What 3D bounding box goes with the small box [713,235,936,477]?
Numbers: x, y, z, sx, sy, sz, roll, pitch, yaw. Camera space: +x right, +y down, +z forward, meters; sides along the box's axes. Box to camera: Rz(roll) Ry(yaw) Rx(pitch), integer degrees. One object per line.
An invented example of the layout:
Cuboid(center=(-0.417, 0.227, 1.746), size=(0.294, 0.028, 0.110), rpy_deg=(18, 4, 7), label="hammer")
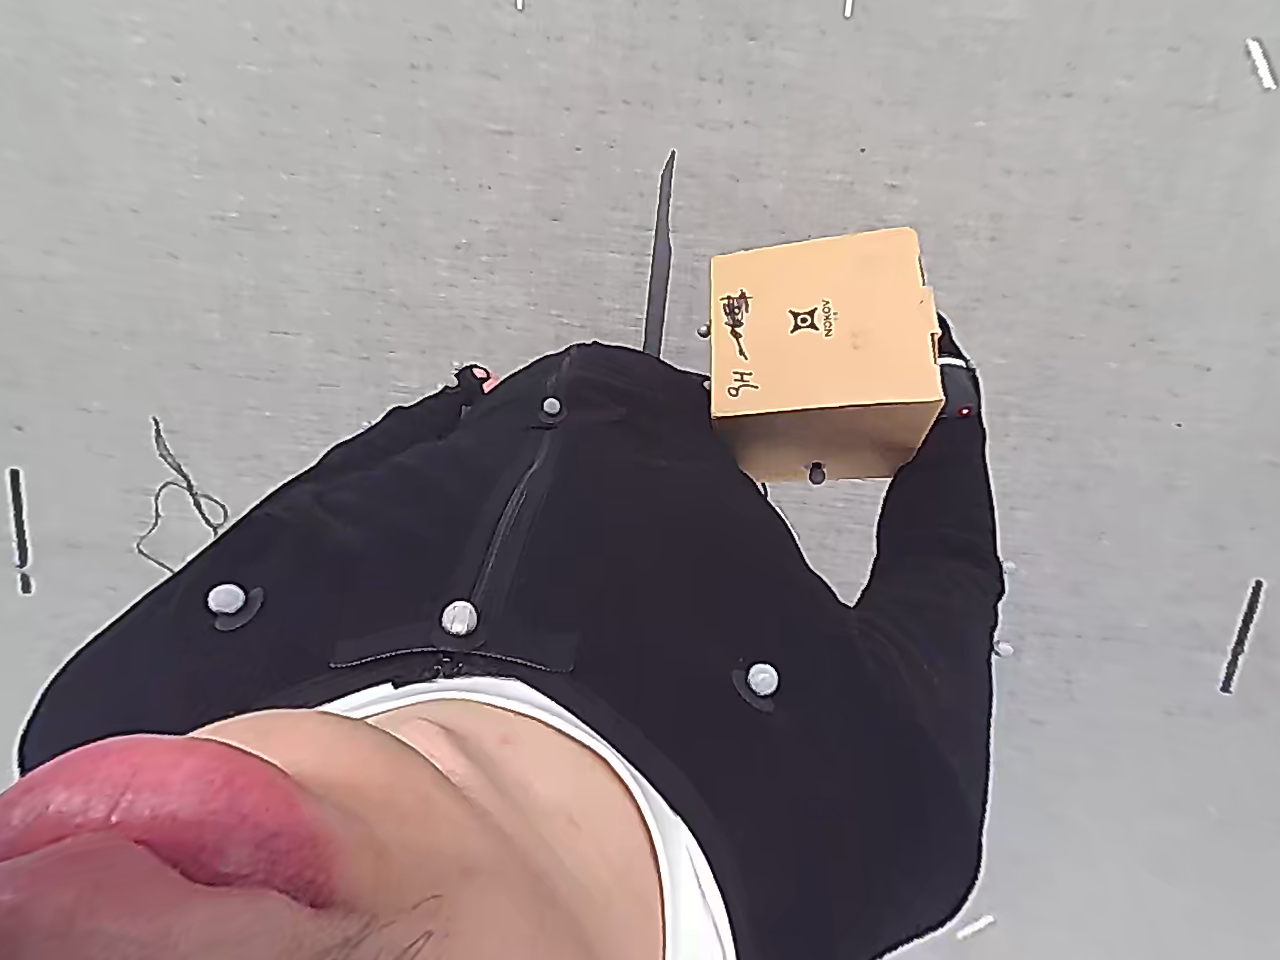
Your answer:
Cuboid(center=(0.168, -0.108, 0.537), size=(0.179, 0.176, 0.168), rpy_deg=(-2, 69, 14), label="small box")
